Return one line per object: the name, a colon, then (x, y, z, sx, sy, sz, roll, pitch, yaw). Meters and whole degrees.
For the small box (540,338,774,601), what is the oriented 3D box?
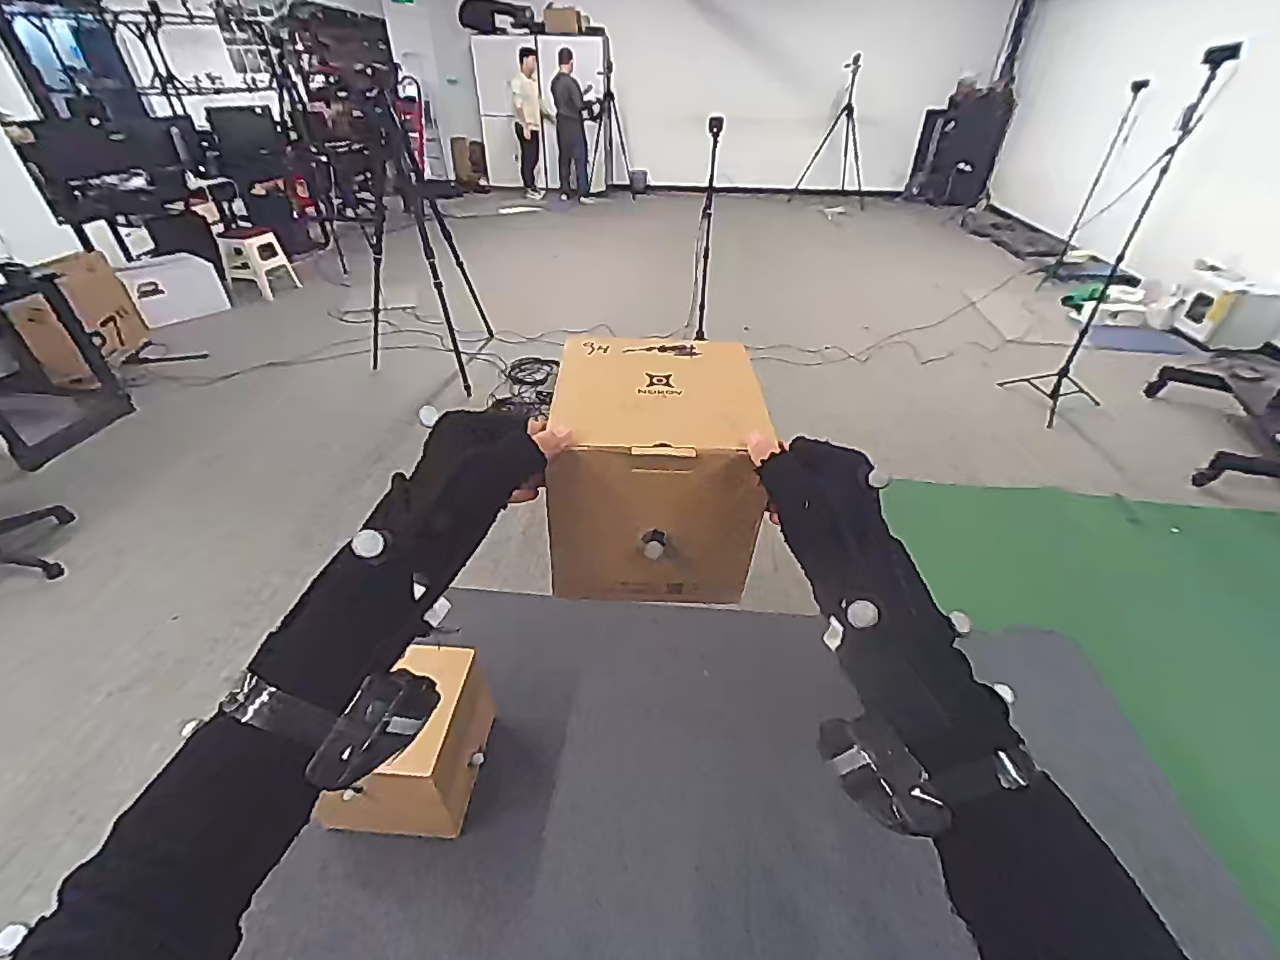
small box: (0.011, -0.009, 0.485, 0.168, 0.176, 0.179, 3, 40, -2)

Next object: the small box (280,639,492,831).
small box: (-0.308, 0.330, 0.702, 0.179, 0.176, 0.168, 4, 37, 2)
